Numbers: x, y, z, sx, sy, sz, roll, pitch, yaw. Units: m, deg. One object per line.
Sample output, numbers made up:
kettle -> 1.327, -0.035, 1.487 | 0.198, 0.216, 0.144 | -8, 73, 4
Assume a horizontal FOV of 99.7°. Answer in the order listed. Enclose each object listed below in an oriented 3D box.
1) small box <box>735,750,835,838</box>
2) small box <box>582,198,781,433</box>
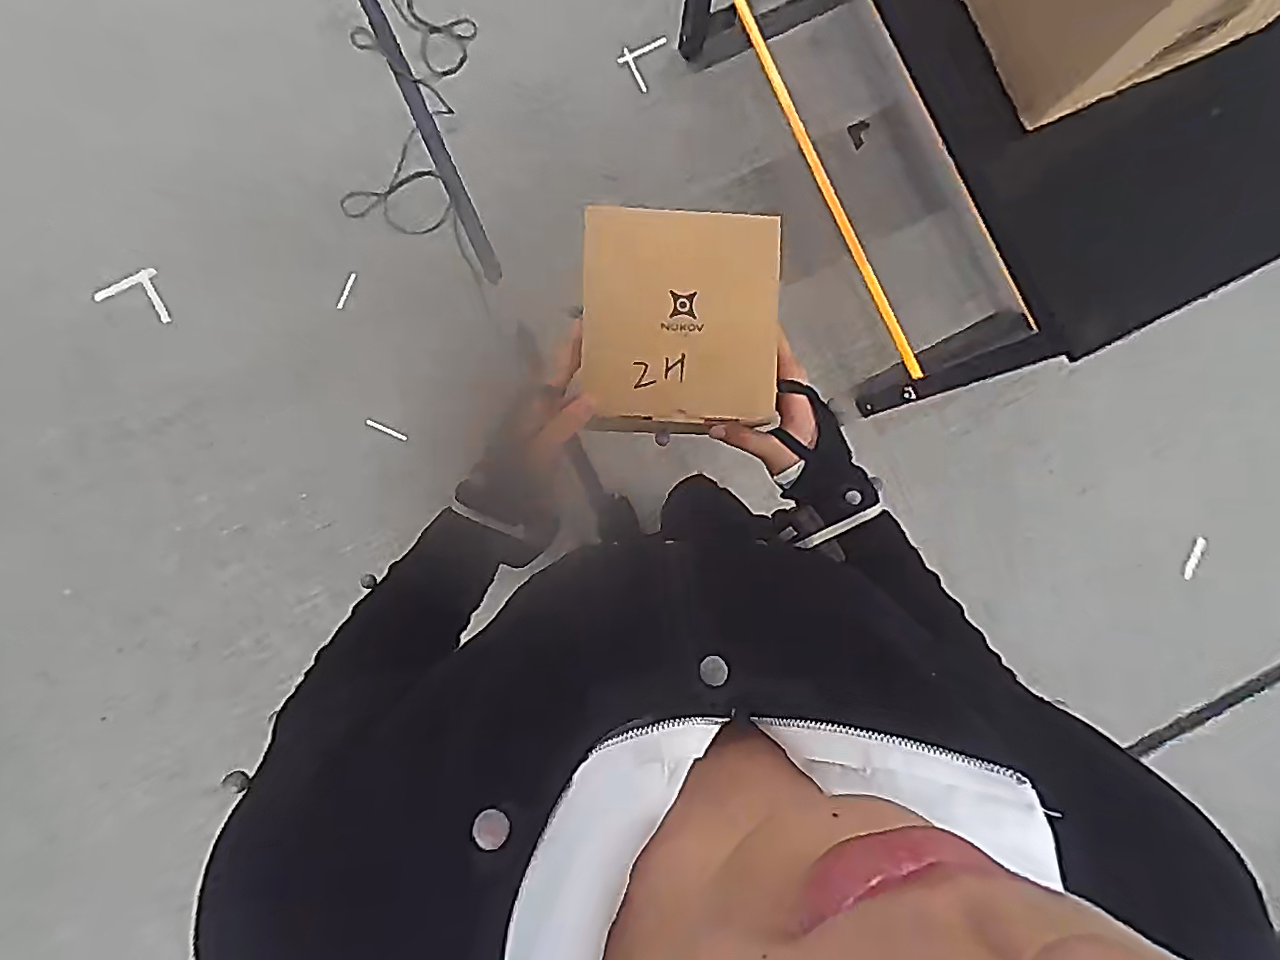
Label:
small box -> 0.373, 0.855, 1.421 | 0.168, 0.176, 0.179 | -32, 89, -3
small box -> 0.030, -0.143, 0.528 | 0.168, 0.176, 0.179 | 1, 90, -3
